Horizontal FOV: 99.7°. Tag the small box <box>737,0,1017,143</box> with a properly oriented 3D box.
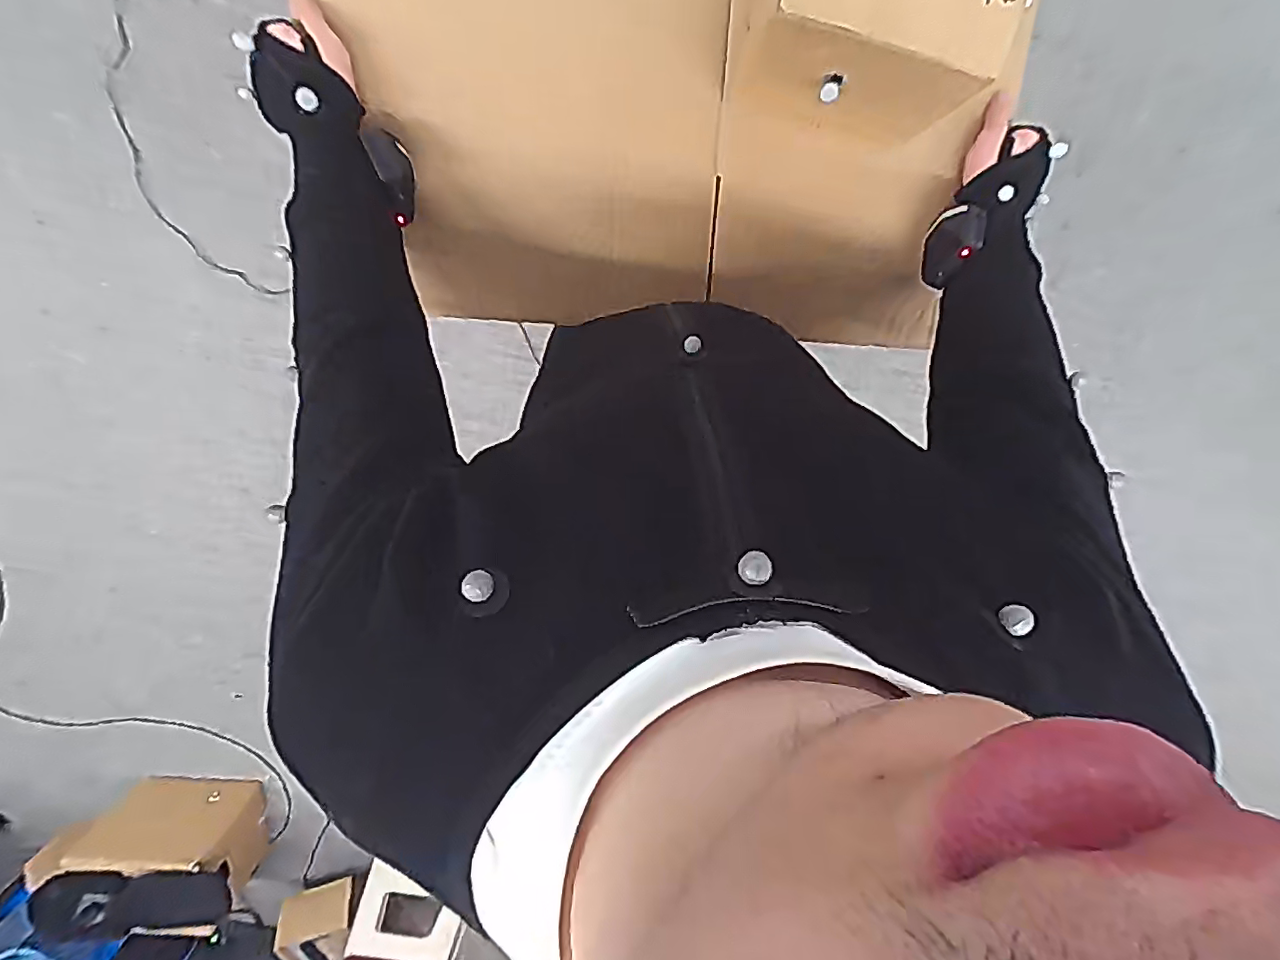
[{"bbox_3d":[0.194,-0.415,0.454,0.179,0.176,0.168,12,104,-5],"label":"small box"}]
